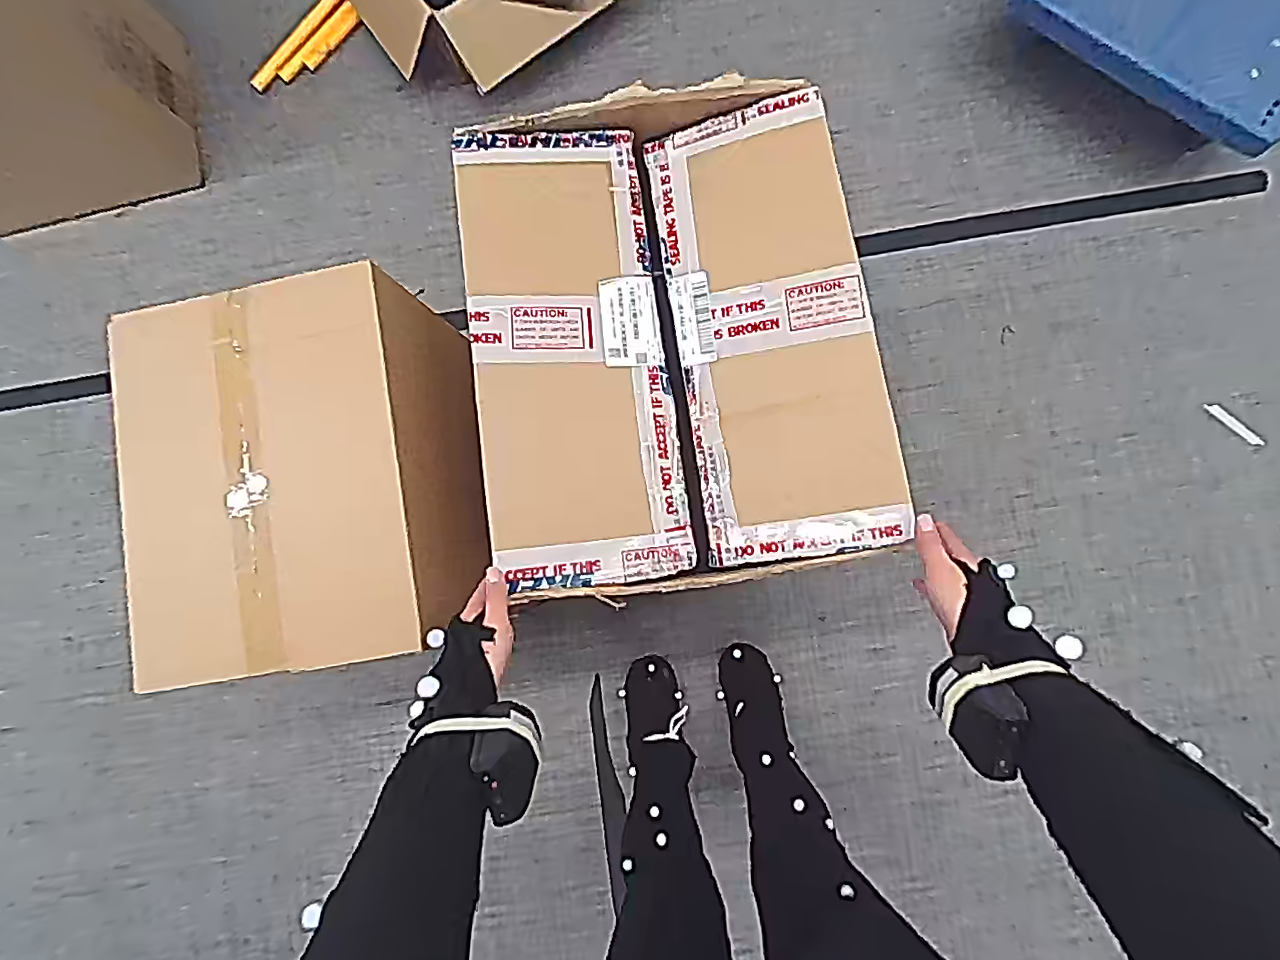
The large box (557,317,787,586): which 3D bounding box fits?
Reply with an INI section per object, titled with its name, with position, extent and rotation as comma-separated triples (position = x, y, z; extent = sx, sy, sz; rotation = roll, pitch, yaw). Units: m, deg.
[large box]
position = 0.049, -0.037, 1.021
extent = 0.320, 0.320, 0.408
rotation = -10, 84, 1
